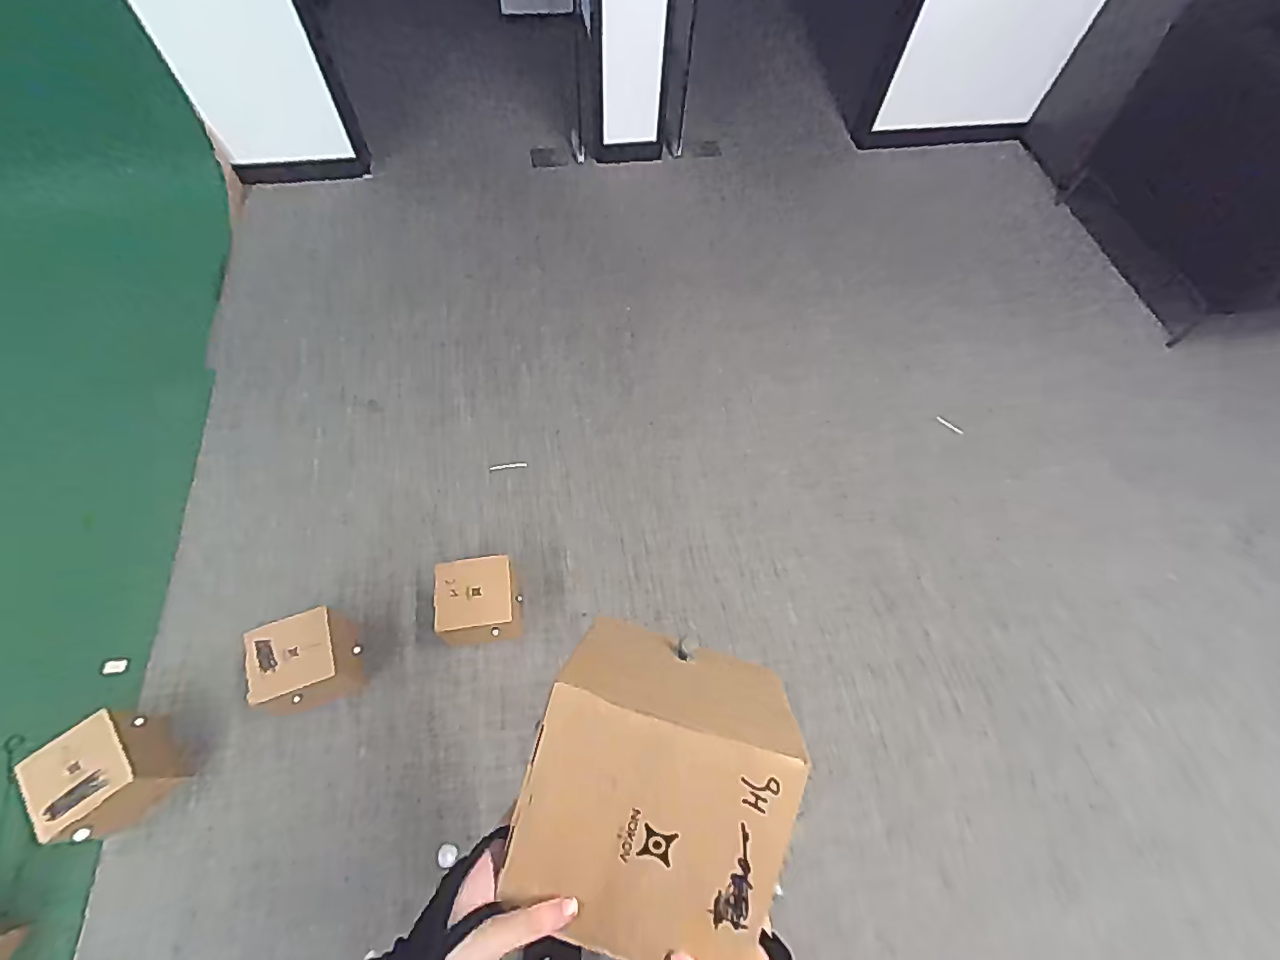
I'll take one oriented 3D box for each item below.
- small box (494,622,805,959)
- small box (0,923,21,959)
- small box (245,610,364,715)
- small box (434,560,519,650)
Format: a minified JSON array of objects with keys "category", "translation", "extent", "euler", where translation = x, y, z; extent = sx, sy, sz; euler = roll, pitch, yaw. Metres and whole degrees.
[{"category":"small box","translation":[0.012,0.230,0.442],"extent":[0.179,0.176,0.168],"euler":[16,91,6]},{"category":"small box","translation":[-1.301,0.893,0.956],"extent":[0.179,0.176,0.168],"euler":[14,62,4]},{"category":"small box","translation":[-0.766,0.424,1.244],"extent":[0.179,0.176,0.168],"euler":[-17,64,-13]},{"category":"small box","translation":[-0.395,0.311,1.331],"extent":[0.179,0.176,0.168],"euler":[-6,61,-7]}]
